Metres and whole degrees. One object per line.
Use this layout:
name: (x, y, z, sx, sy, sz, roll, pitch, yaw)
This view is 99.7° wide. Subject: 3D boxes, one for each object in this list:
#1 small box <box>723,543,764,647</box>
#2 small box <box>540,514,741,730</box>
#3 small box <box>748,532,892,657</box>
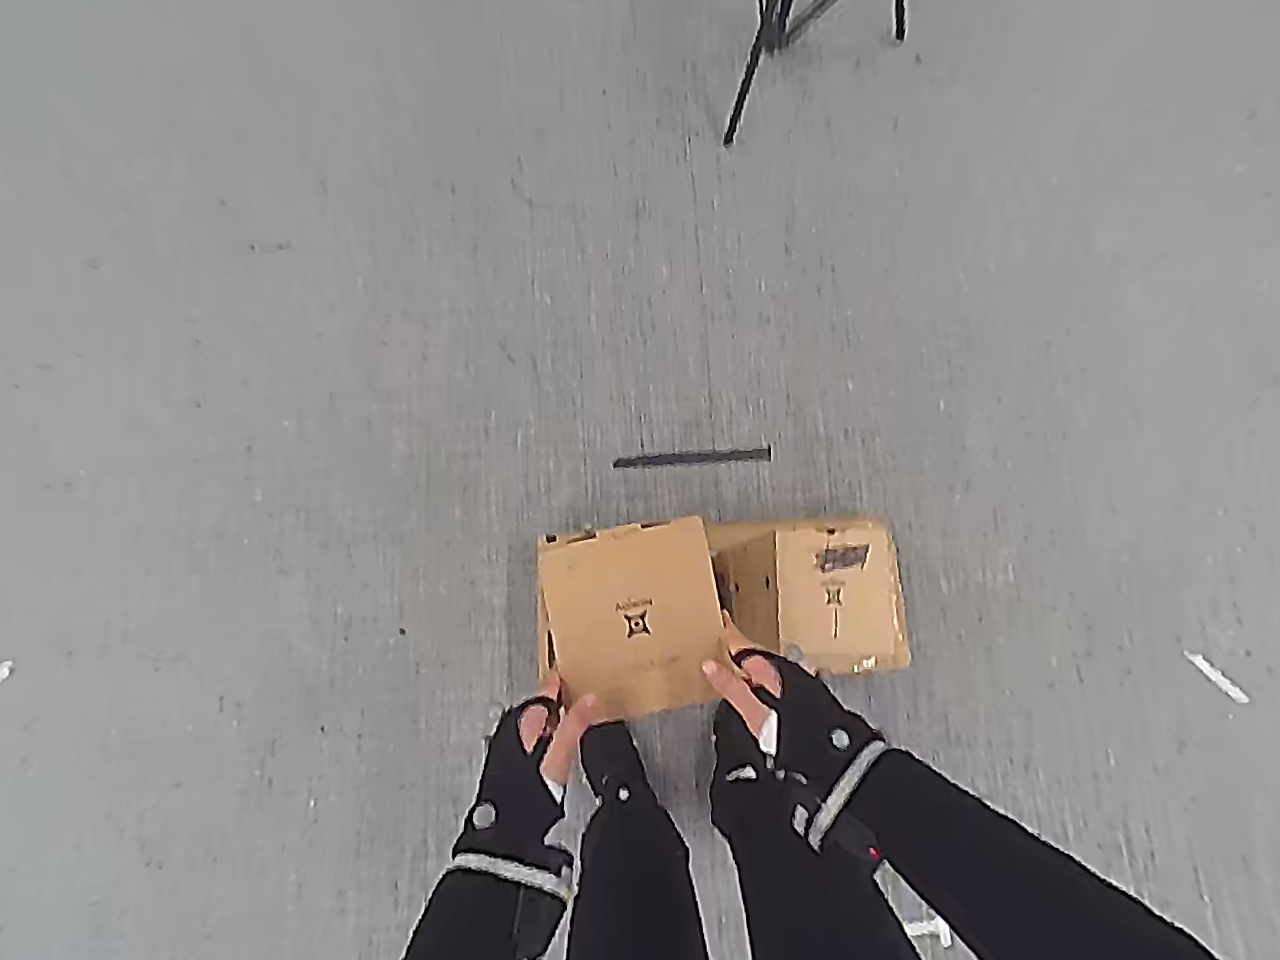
small box: (0.255, 0.209, 1.009, 0.168, 0.176, 0.179, -3, 79, -2)
small box: (-0.002, 0.138, 0.586, 0.168, 0.176, 0.179, -11, 86, -1)
small box: (0.270, 0.177, 0.849, 0.168, 0.176, 0.179, 0, 80, -1)
